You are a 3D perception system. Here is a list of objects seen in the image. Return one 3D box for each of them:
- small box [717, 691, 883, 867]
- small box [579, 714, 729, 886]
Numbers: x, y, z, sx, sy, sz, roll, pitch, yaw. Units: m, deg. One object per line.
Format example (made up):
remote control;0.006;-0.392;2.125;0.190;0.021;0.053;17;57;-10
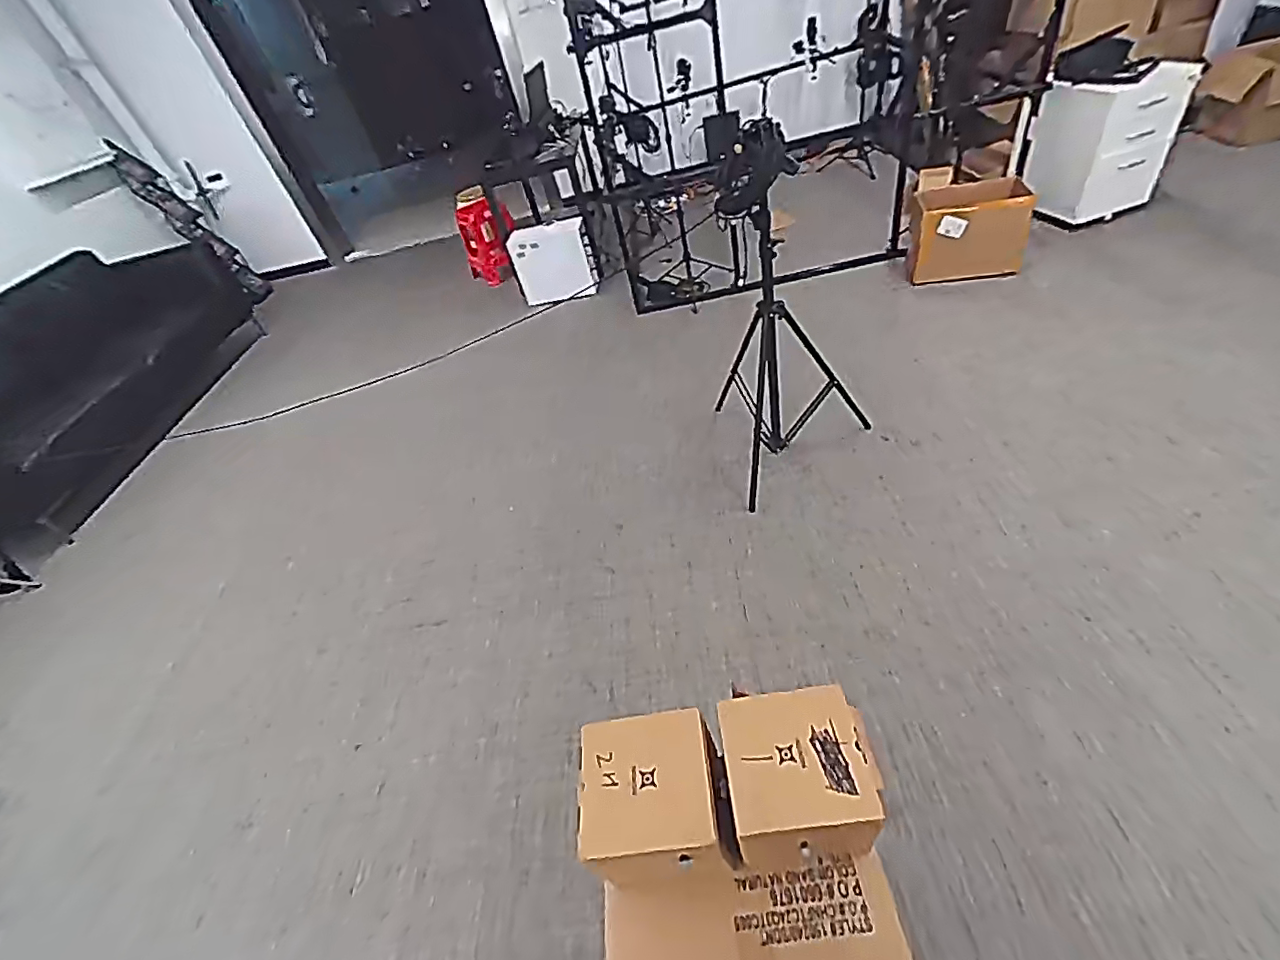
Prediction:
small box;0.211;0.415;0.749;0.179;0.176;0.168;-11;44;6
small box;0.025;0.455;0.766;0.179;0.176;0.168;-12;43;9
